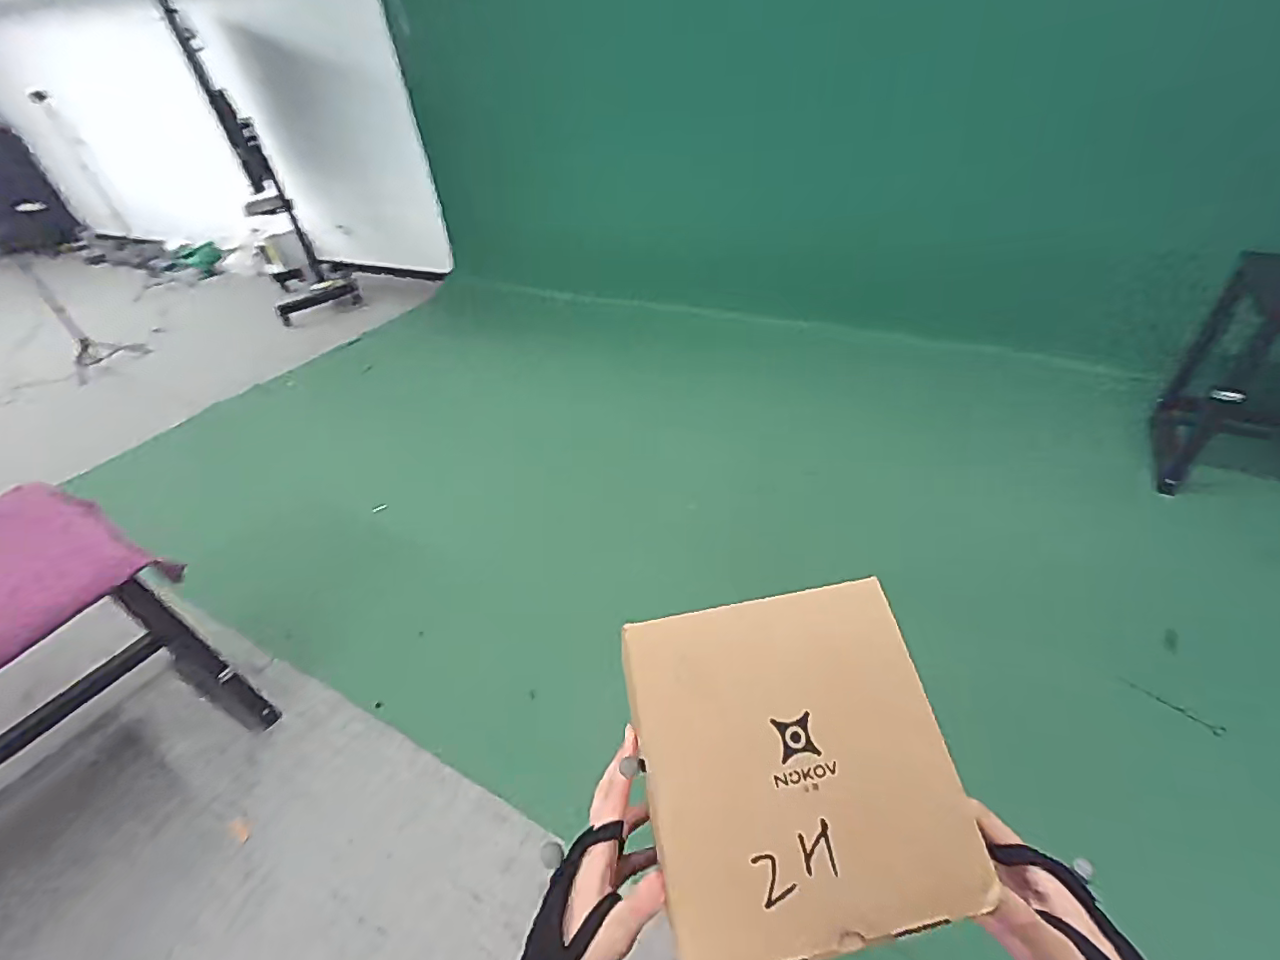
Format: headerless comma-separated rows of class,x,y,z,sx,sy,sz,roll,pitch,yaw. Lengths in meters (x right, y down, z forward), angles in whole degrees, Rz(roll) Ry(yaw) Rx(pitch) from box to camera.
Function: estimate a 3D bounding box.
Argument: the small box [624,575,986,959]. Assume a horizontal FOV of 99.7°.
small box,0.081,0.185,0.378,0.168,0.176,0.179,-10,65,-6
